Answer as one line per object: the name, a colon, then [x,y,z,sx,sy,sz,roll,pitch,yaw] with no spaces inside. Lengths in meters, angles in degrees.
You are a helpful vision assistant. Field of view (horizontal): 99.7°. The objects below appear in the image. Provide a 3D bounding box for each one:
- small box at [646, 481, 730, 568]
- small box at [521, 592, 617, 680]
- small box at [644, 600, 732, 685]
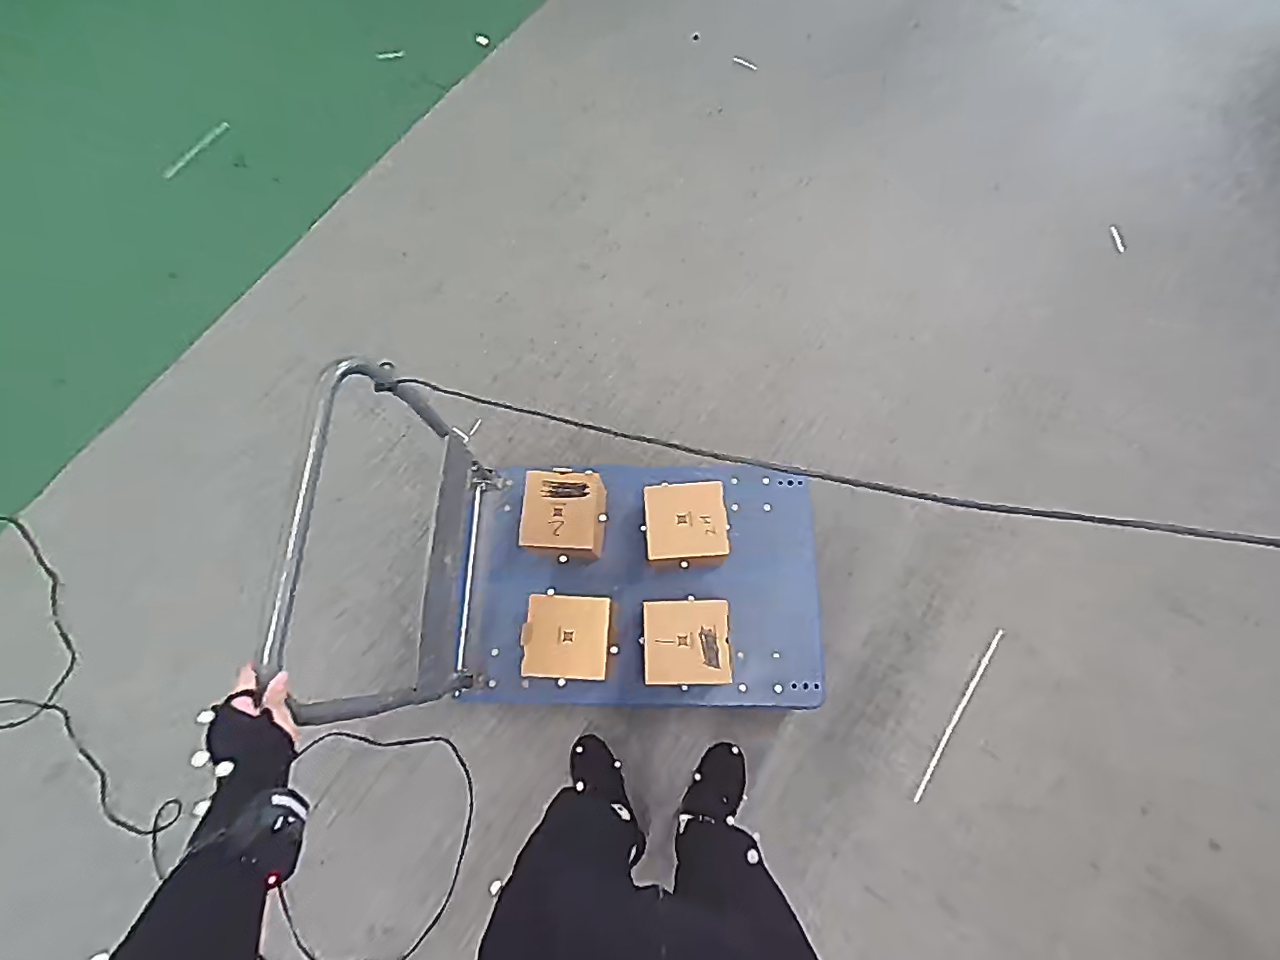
small box: [0.108,0.108,1.247,0.179,0.176,0.168,-3,73,3]
small box: [-0.147,0.342,1.192,0.179,0.176,0.168,2,73,5]
small box: [0.101,0.350,1.171,0.179,0.176,0.168,-1,72,4]
